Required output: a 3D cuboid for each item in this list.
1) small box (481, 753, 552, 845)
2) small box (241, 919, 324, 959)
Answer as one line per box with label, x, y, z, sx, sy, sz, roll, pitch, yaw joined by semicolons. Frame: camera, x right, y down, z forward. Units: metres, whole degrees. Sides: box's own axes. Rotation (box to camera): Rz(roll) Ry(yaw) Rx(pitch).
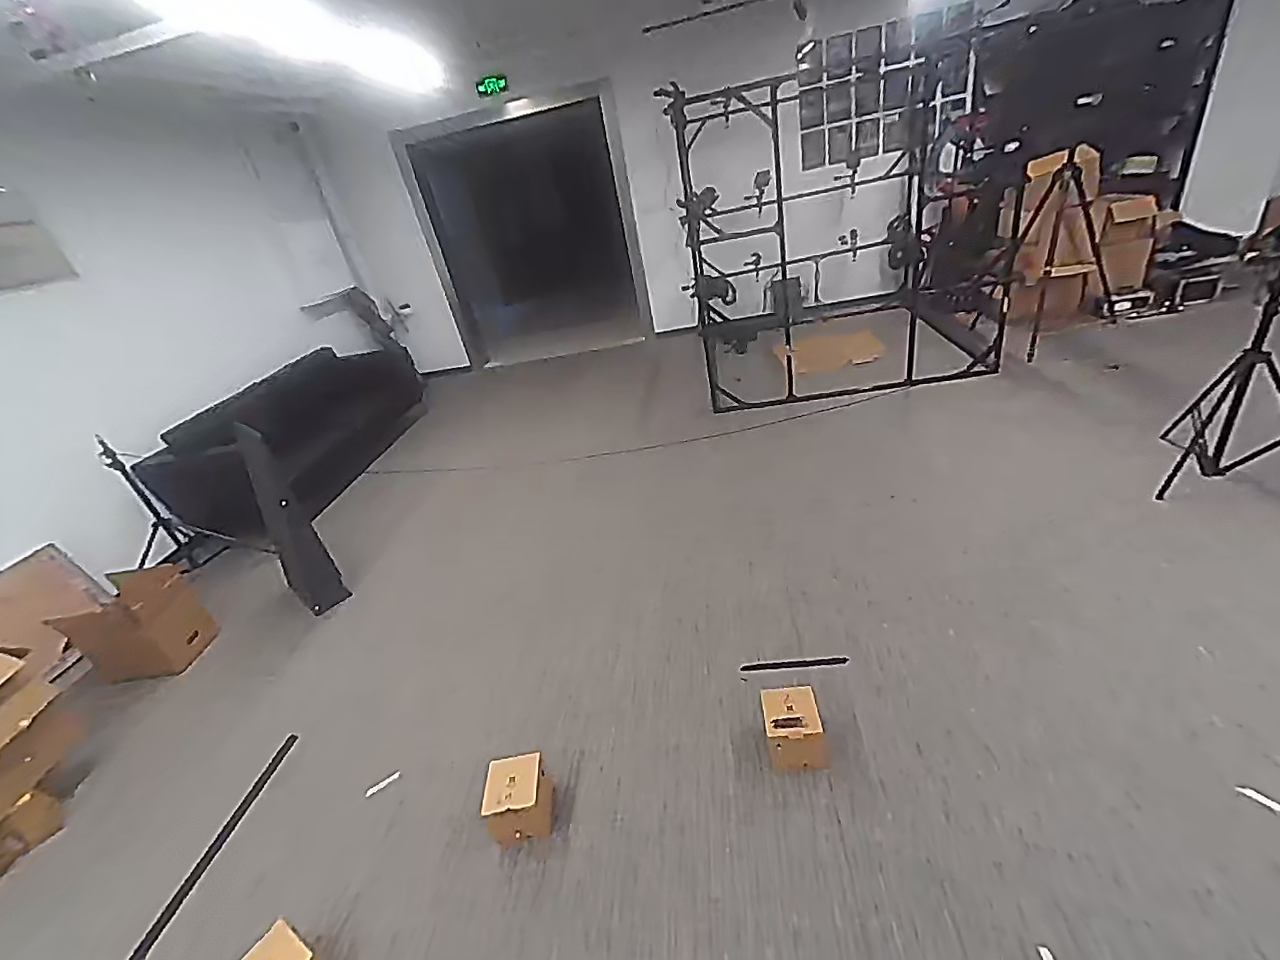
small box;-0.377;0.994;1.689;0.168;0.176;0.179;-11;29;1
small box;-0.913;1.284;1.376;0.179;0.176;0.168;8;34;32
